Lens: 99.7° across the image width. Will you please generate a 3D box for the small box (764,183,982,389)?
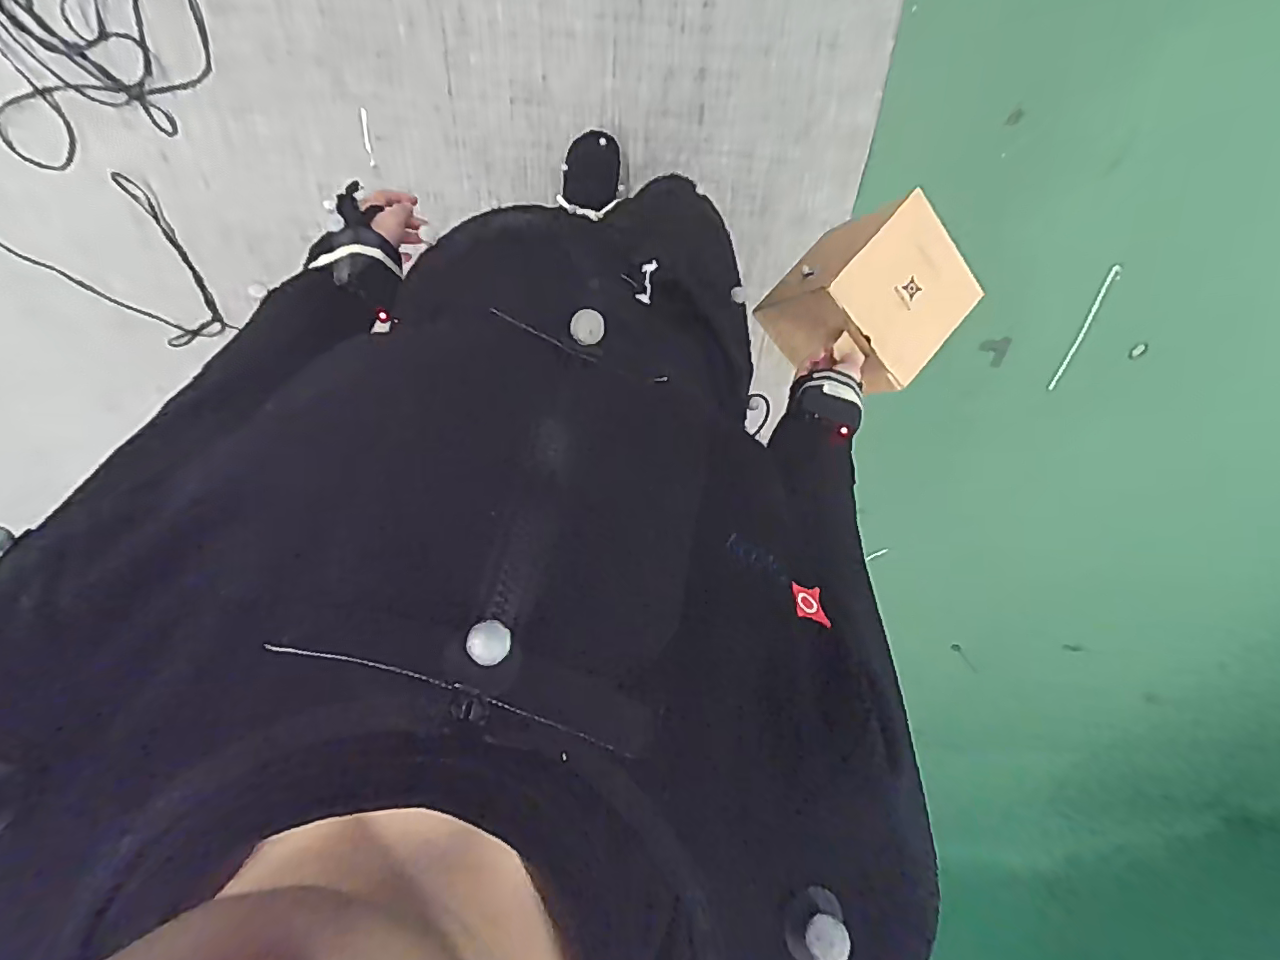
[{"bbox_3d":[0.289,-0.235,0.708,0.168,0.176,0.179,45,80,-20],"label":"small box"}]
